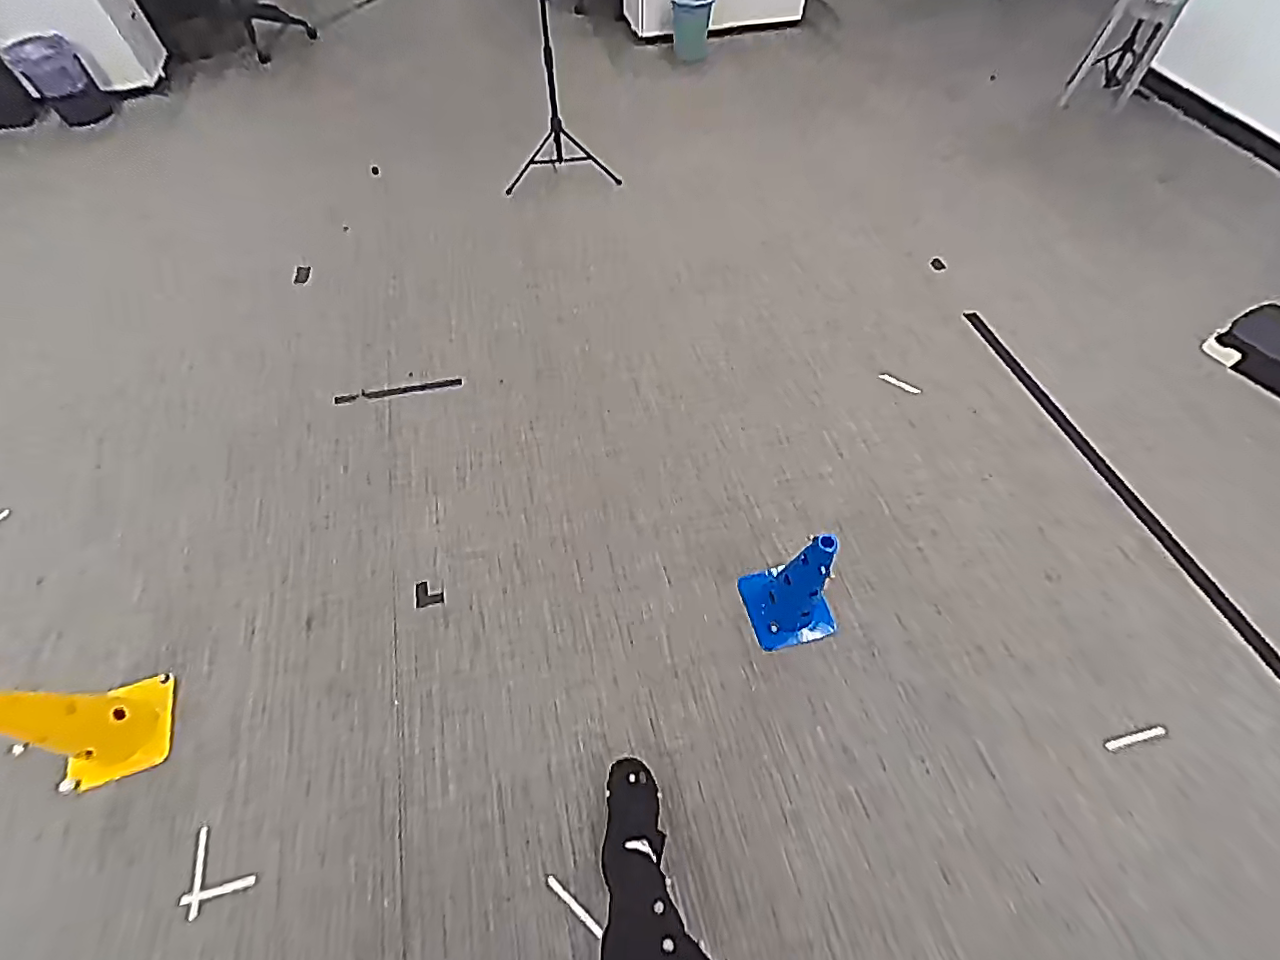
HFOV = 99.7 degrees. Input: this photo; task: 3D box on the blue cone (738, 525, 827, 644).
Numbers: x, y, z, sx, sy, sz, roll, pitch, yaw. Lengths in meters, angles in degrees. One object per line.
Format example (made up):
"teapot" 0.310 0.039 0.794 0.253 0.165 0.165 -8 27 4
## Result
"blue cone" 0.358 0.217 1.223 0.193 0.380 0.192 -11 57 -7
